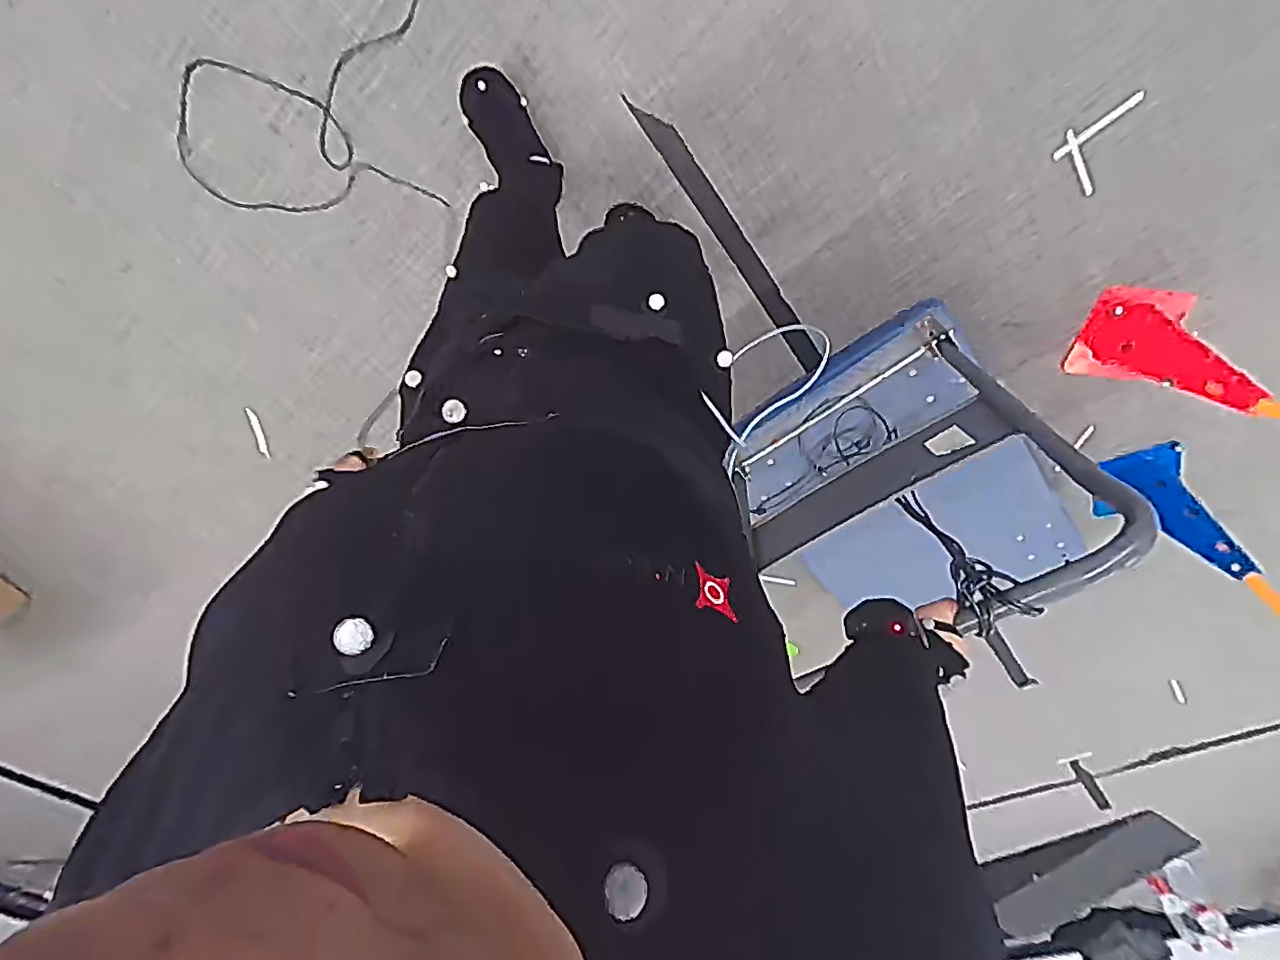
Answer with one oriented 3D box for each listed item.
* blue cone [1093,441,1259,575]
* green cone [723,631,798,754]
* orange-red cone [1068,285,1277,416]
[{"bbox_3d":[1.299,0.090,1.294,0.193,0.380,0.192,-19,121,16],"label":"blue cone"},{"bbox_3d":[0.413,0.712,1.767,0.202,0.368,0.200,34,120,-17],"label":"green cone"},{"bbox_3d":[1.084,-0.226,1.069,0.198,0.360,0.199,7,126,0],"label":"orange-red cone"}]
